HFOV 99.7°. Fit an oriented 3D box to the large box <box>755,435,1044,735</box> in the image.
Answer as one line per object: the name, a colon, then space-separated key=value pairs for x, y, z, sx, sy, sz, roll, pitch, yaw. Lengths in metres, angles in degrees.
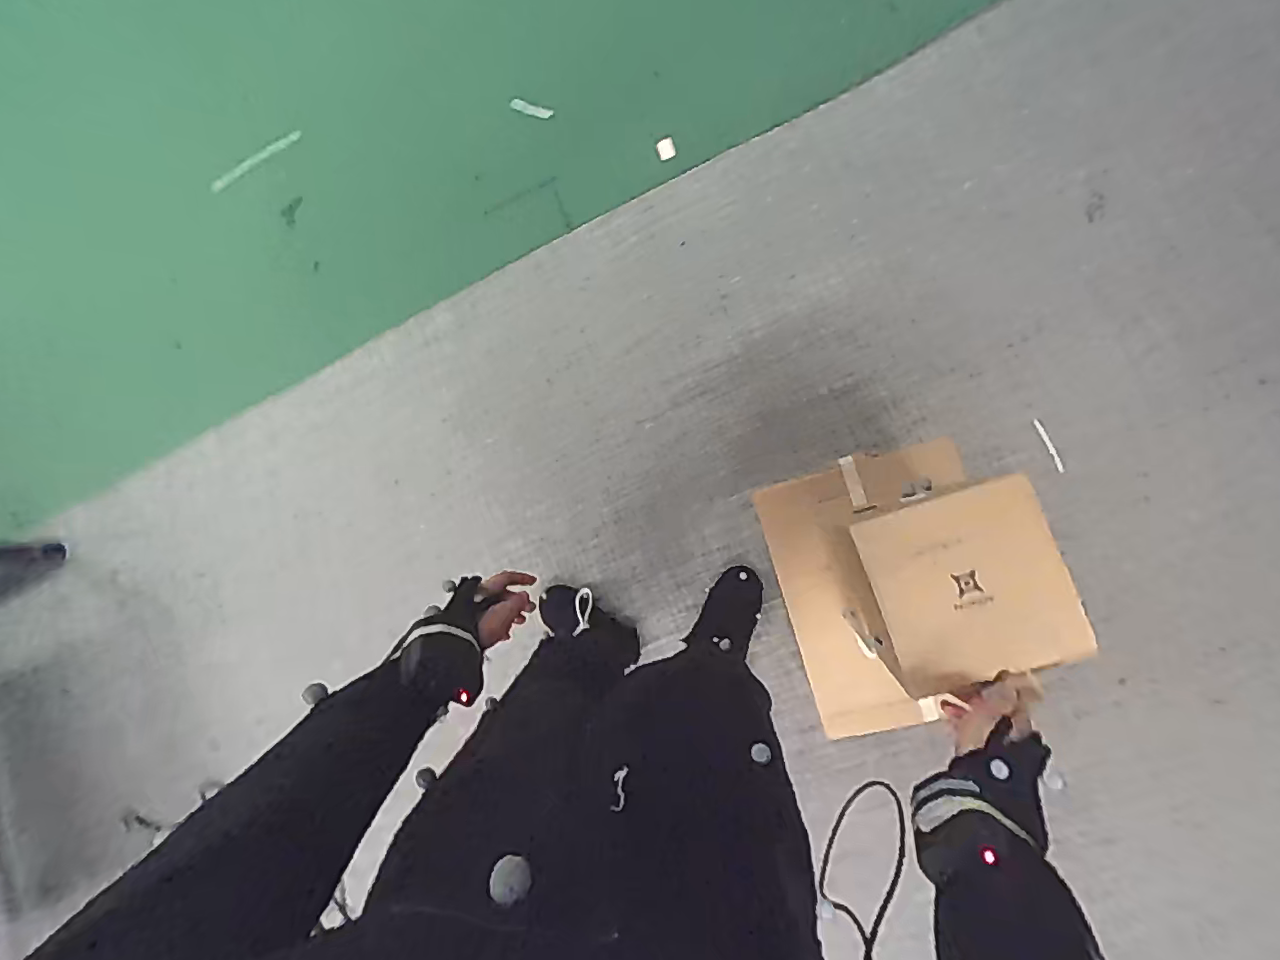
large box: x=0.415 y=0.168 z=0.972 sx=0.320 sy=0.320 sz=0.408 roll=-17 pitch=84 yaw=12

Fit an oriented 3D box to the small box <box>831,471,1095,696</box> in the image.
small box: x=0.320 y=0.101 z=0.579 sx=0.168 sy=0.176 sz=0.179 roll=-20 pitch=82 yaw=11
